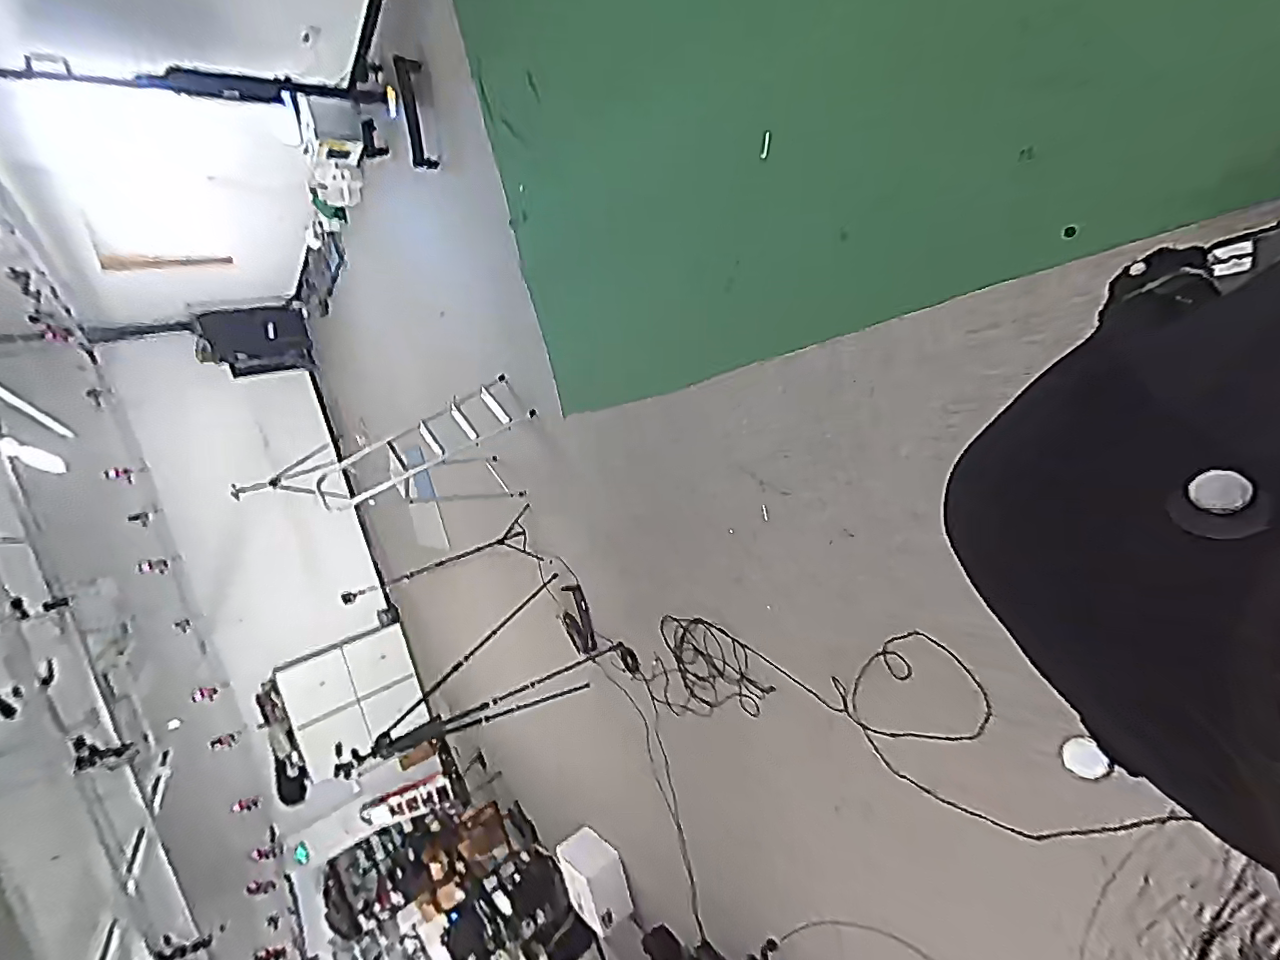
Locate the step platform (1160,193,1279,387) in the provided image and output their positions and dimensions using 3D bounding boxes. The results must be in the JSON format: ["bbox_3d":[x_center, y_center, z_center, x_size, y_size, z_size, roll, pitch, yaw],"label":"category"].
[{"bbox_3d":[1.183,-0.343,0.721,0.684,0.204,0.286,-8,101,54],"label":"step platform"}]
